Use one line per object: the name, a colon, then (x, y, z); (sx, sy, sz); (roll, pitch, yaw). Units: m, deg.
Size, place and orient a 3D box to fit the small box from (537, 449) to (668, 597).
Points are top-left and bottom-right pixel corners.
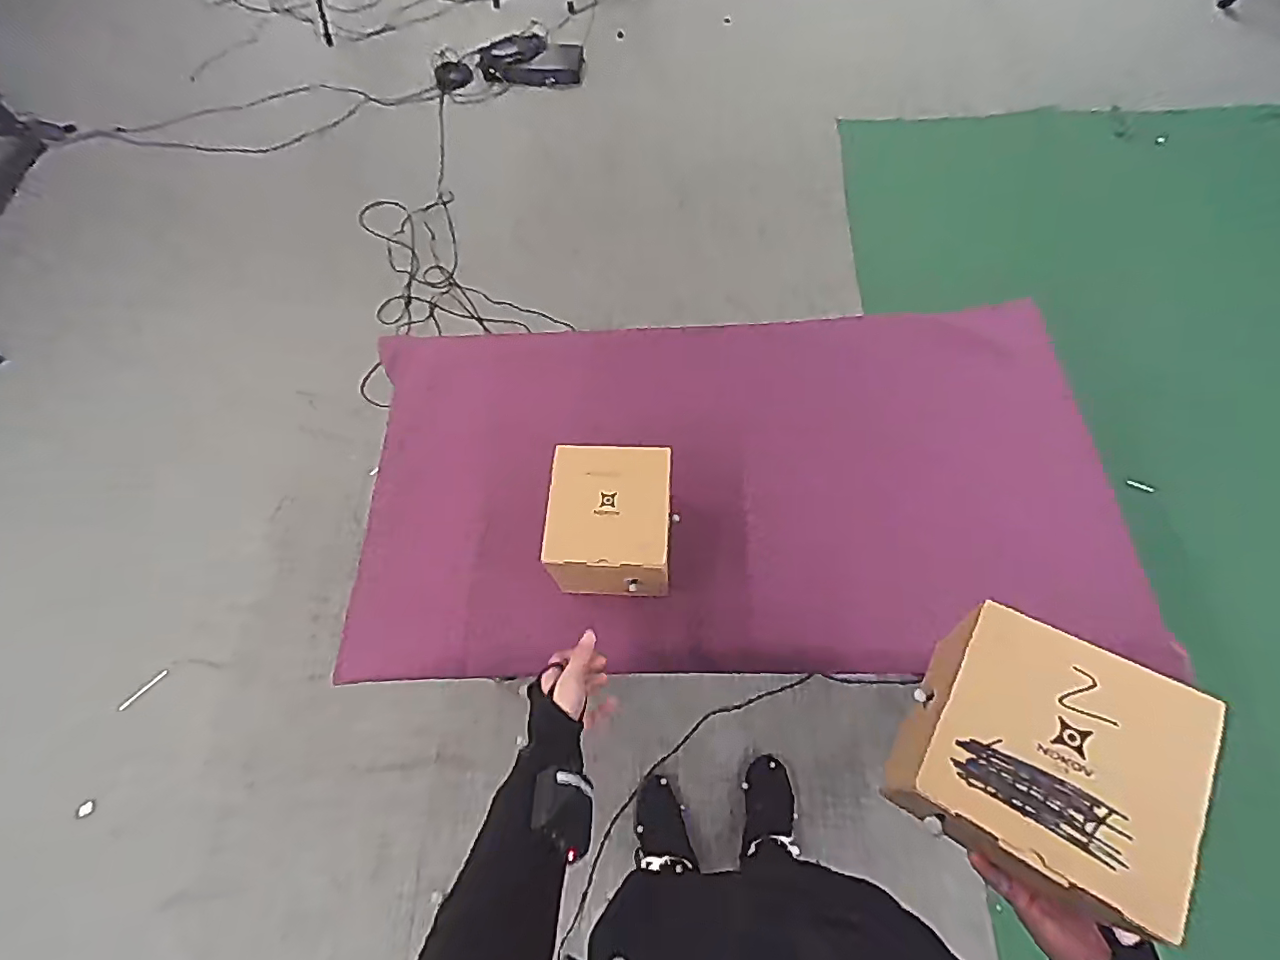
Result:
small box: (-0.045, 0.070, 0.807); (0.168, 0.176, 0.179); (3, 65, 3)
